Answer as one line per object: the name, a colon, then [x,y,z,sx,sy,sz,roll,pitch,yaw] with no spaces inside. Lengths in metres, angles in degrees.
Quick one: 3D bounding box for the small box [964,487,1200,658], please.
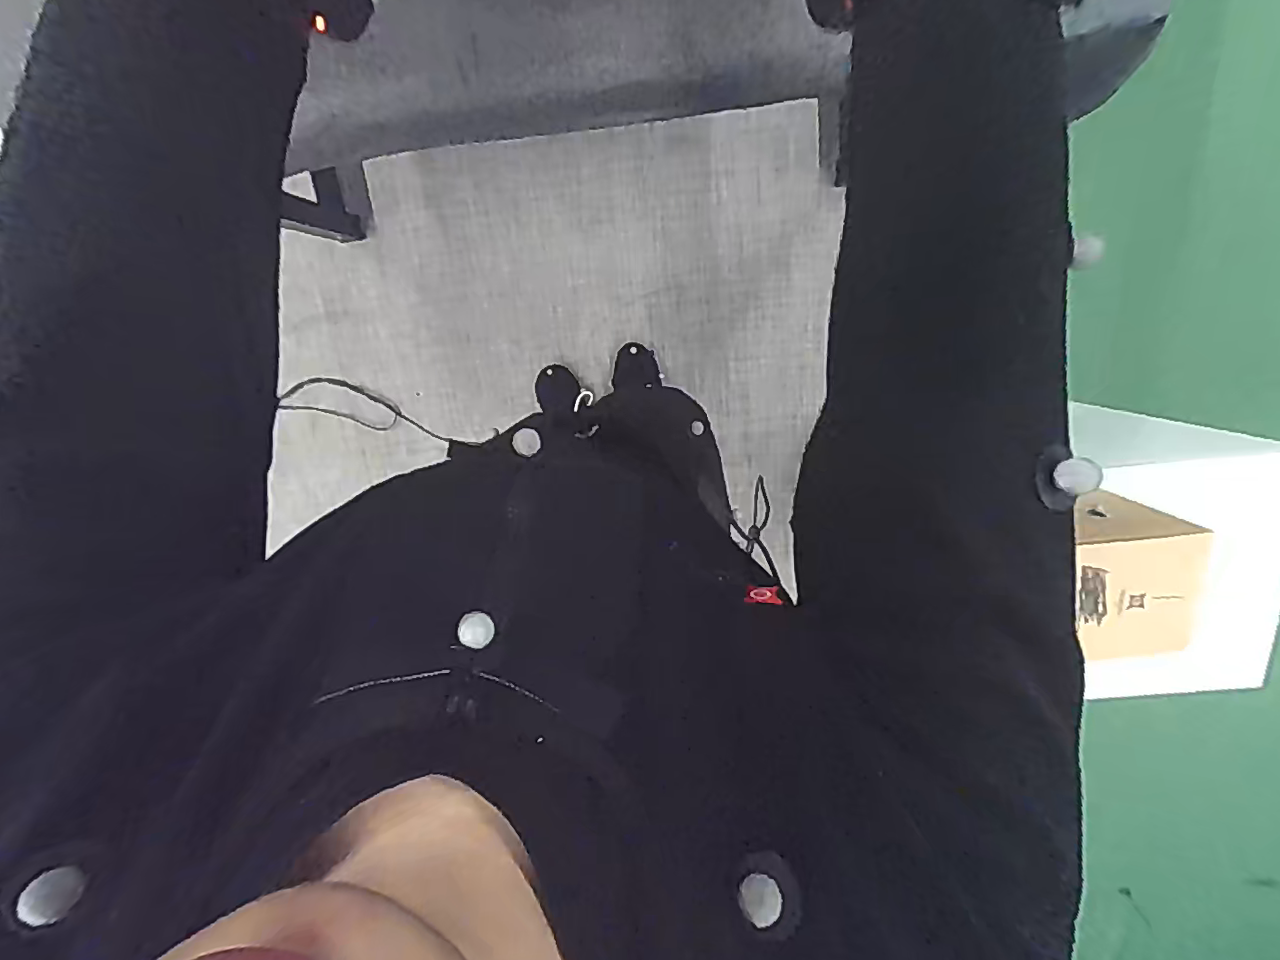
small box: [0.573,0.115,0.731,0.179,0.176,0.168,-6,107,0]
